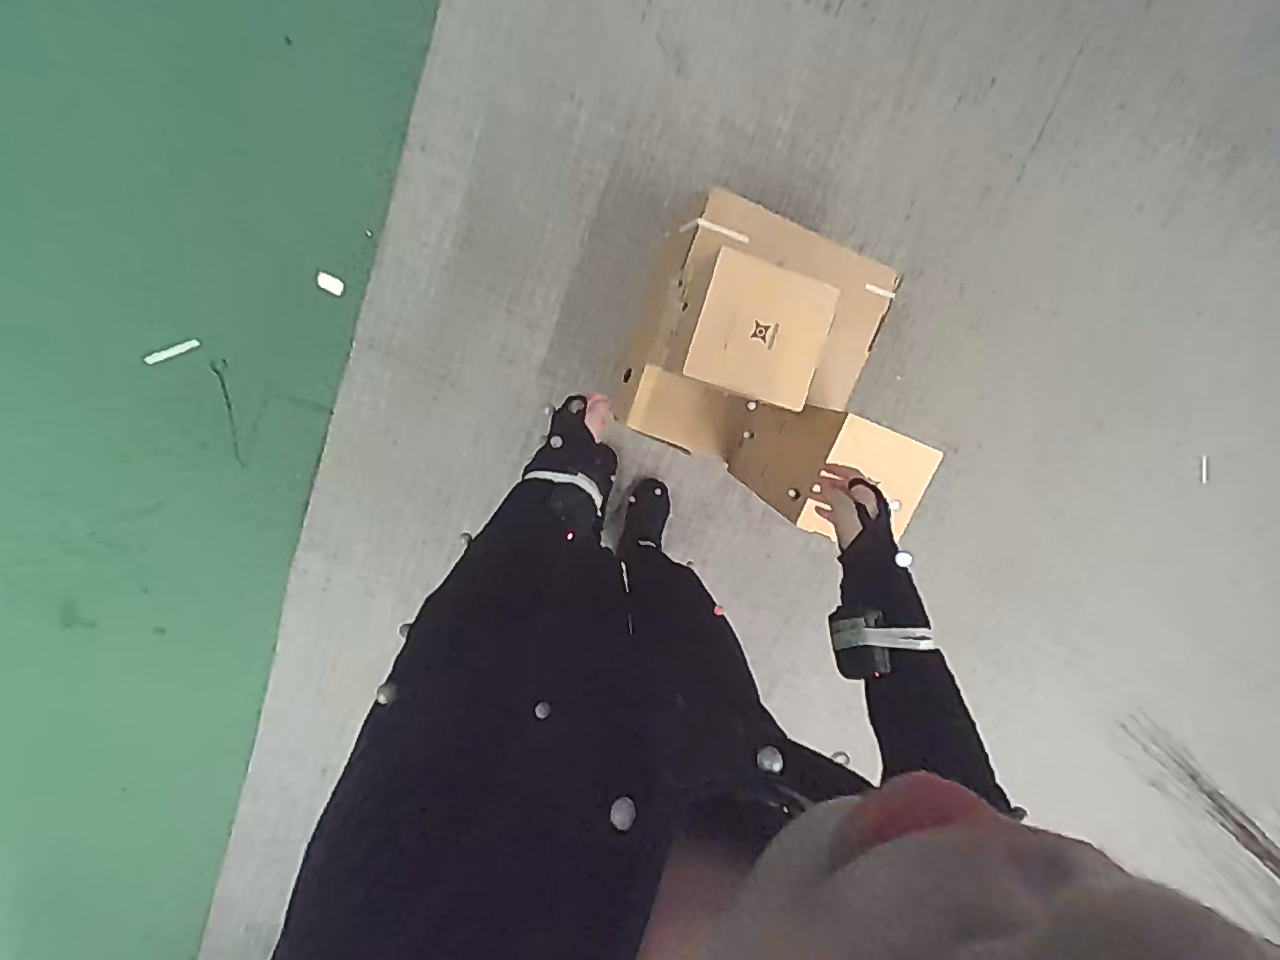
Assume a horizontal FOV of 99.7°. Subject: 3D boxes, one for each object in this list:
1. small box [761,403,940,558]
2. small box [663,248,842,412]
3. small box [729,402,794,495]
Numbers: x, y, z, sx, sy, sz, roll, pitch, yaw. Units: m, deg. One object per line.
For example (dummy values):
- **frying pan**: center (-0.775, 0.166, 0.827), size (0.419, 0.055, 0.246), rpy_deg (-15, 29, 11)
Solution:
- **small box**: center (0.312, -0.009, 0.843), size (0.168, 0.176, 0.179), rpy_deg (19, 102, -12)
- **small box**: center (0.147, -0.208, 0.774), size (0.179, 0.176, 0.168), rpy_deg (16, 100, -10)
- **small box**: center (0.291, -0.046, 1.001), size (0.179, 0.176, 0.168), rpy_deg (19, 101, -12)
